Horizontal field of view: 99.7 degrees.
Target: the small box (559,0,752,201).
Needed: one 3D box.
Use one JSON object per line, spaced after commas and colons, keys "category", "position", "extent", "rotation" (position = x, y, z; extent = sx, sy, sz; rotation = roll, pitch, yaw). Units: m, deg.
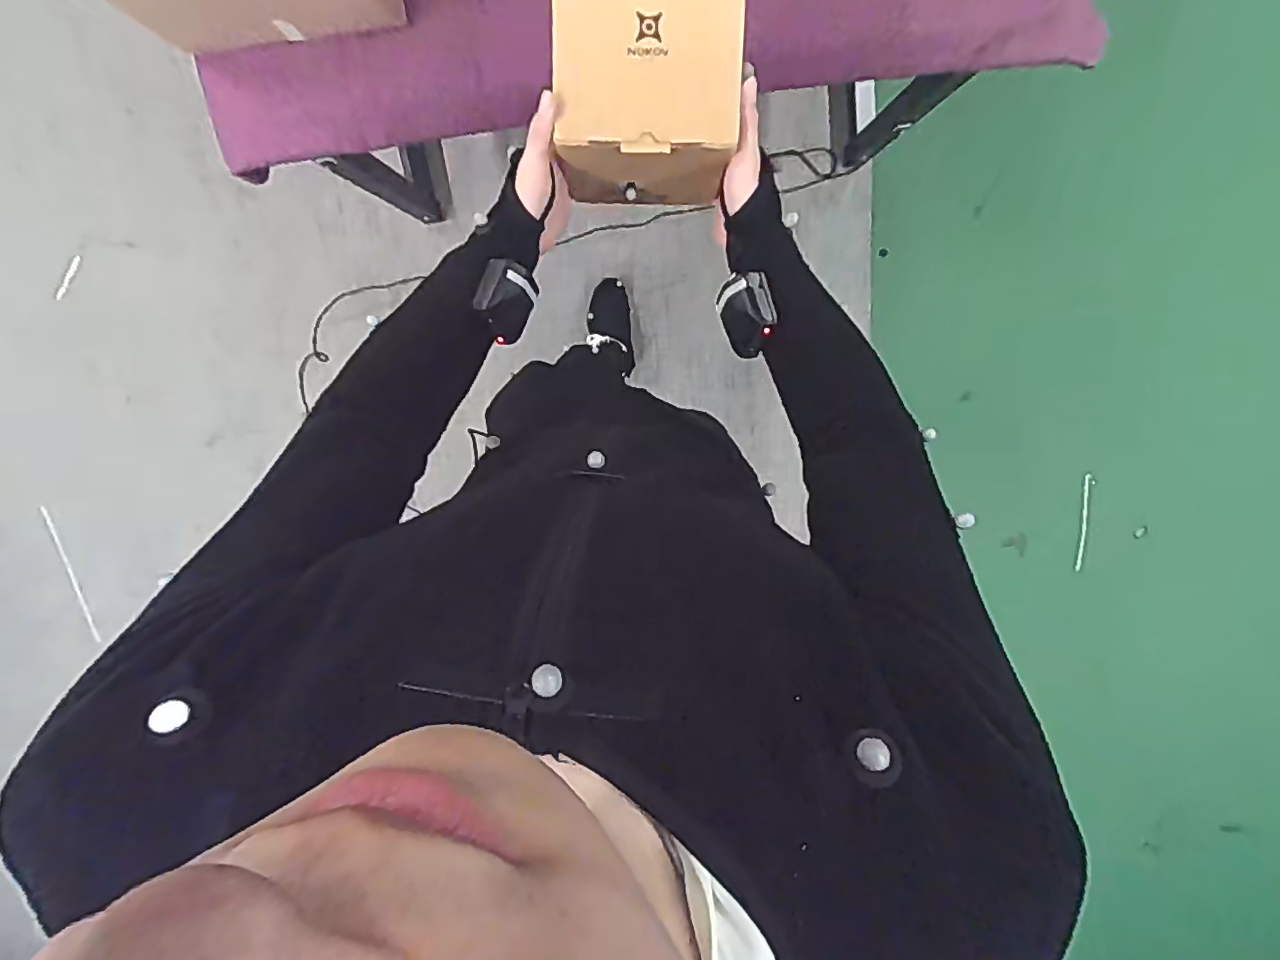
{"category": "small box", "position": [0.010, -0.398, 0.536], "extent": [0.168, 0.176, 0.179], "rotation": [0, 102, -1]}
